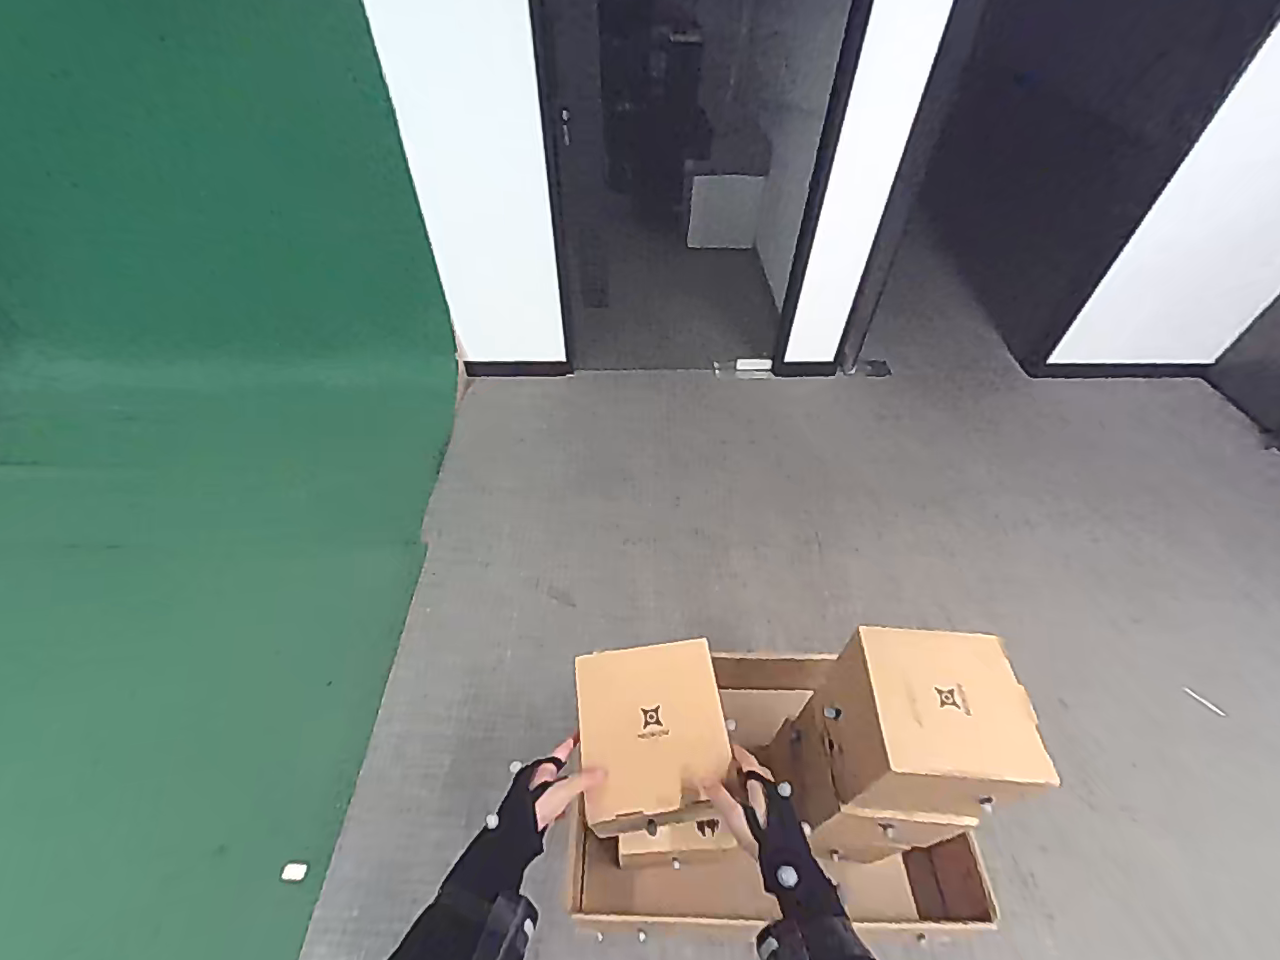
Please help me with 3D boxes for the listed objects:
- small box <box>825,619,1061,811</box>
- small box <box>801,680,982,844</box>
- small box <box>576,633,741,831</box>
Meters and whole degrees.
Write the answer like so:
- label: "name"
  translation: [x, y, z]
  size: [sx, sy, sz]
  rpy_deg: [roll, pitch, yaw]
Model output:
- label: "small box"
  translation: [0.344, 0.288, 0.658]
  size: [0.179, 0.176, 0.168]
  rpy_deg: [3, 47, 3]
- label: "small box"
  translation: [0.336, 0.404, 0.772]
  size: [0.179, 0.176, 0.168]
  rpy_deg: [4, 48, 2]
- label: "small box"
  translation: [0.014, 0.311, 0.664]
  size: [0.168, 0.176, 0.179]
  rpy_deg: [-7, 53, -4]
